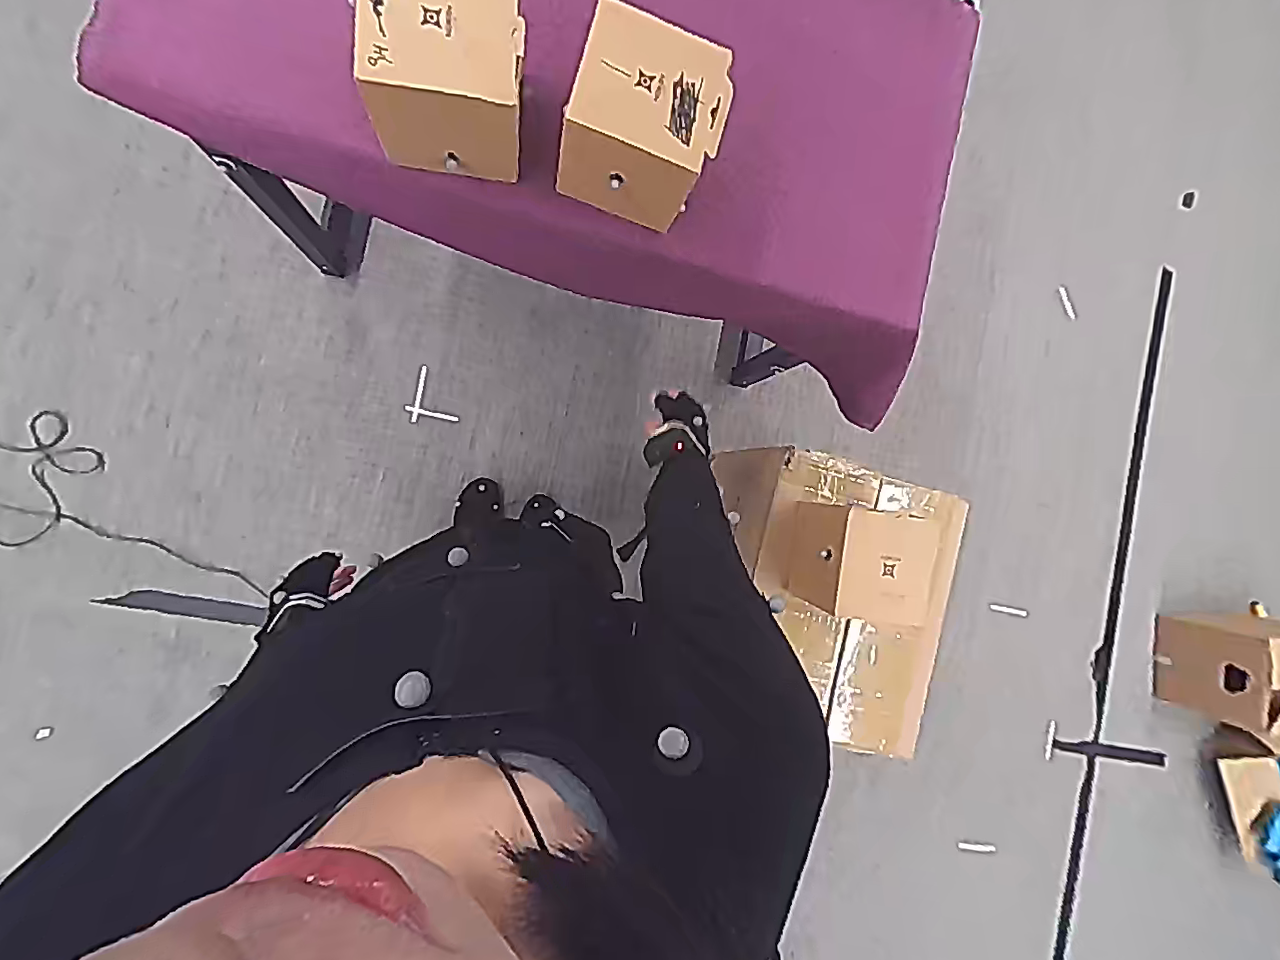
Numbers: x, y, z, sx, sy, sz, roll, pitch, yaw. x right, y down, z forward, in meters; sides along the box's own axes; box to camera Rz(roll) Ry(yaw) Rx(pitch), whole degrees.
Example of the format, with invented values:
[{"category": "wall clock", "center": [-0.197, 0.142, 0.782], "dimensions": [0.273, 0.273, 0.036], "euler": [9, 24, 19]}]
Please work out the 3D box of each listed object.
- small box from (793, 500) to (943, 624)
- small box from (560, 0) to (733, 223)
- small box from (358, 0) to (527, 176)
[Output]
[{"category": "small box", "center": [0.378, 0.131, 0.922], "dimensions": [0.168, 0.176, 0.179], "euler": [8, 89, -10]}, {"category": "small box", "center": [-0.002, -0.481, 0.734], "dimensions": [0.179, 0.176, 0.168], "euler": [16, 86, -11]}, {"category": "small box", "center": [-0.238, -0.516, 0.683], "dimensions": [0.179, 0.176, 0.168], "euler": [2, 89, -14]}]
